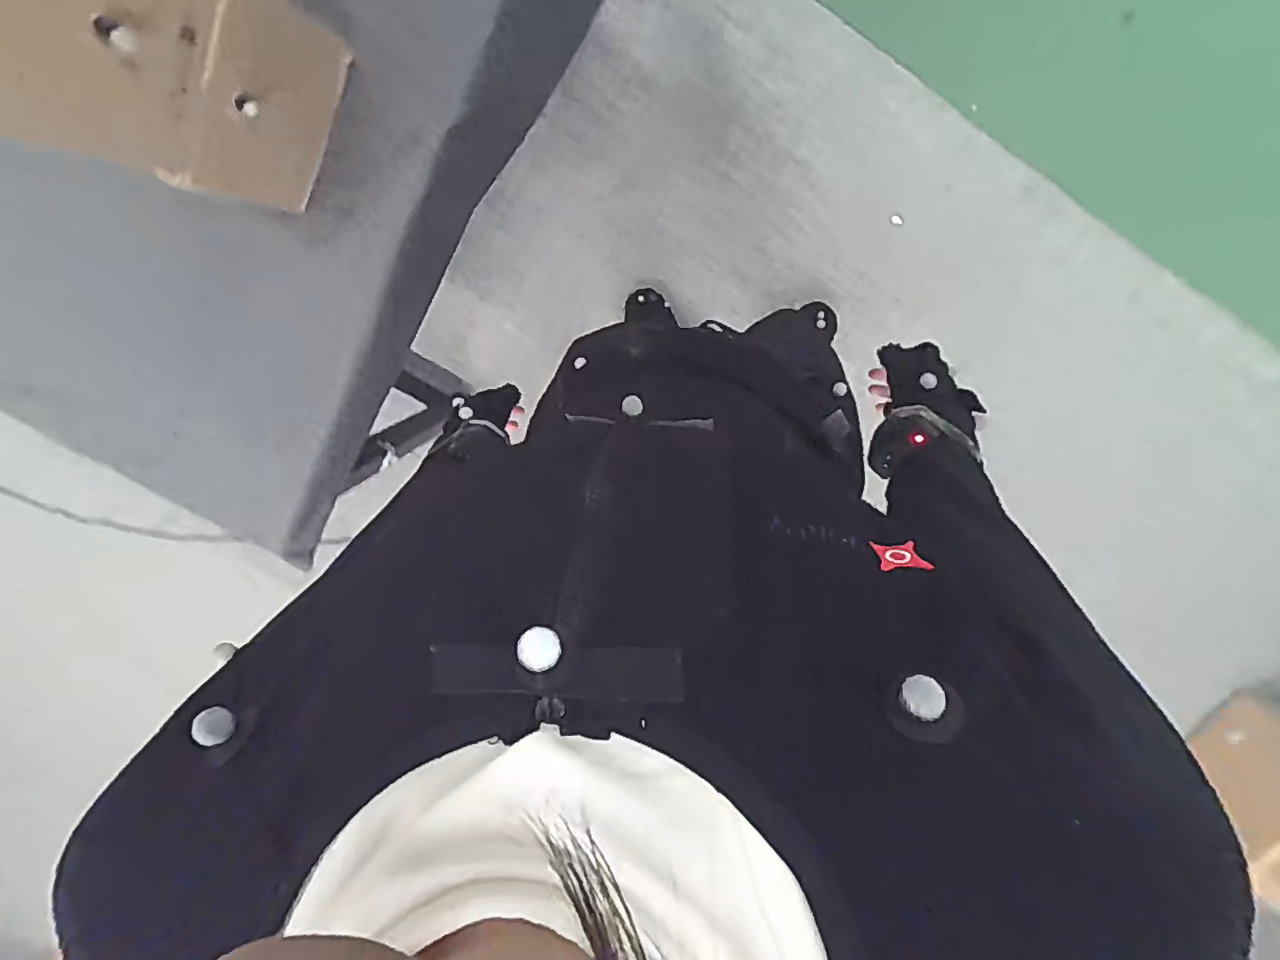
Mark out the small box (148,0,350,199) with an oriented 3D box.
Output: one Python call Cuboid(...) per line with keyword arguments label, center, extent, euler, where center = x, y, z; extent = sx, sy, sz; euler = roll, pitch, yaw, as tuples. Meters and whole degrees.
Cuboid(label="small box", center=(-0.410, -0.394, 0.507), extent=(0.168, 0.176, 0.179), euler=(28, 108, -7))
